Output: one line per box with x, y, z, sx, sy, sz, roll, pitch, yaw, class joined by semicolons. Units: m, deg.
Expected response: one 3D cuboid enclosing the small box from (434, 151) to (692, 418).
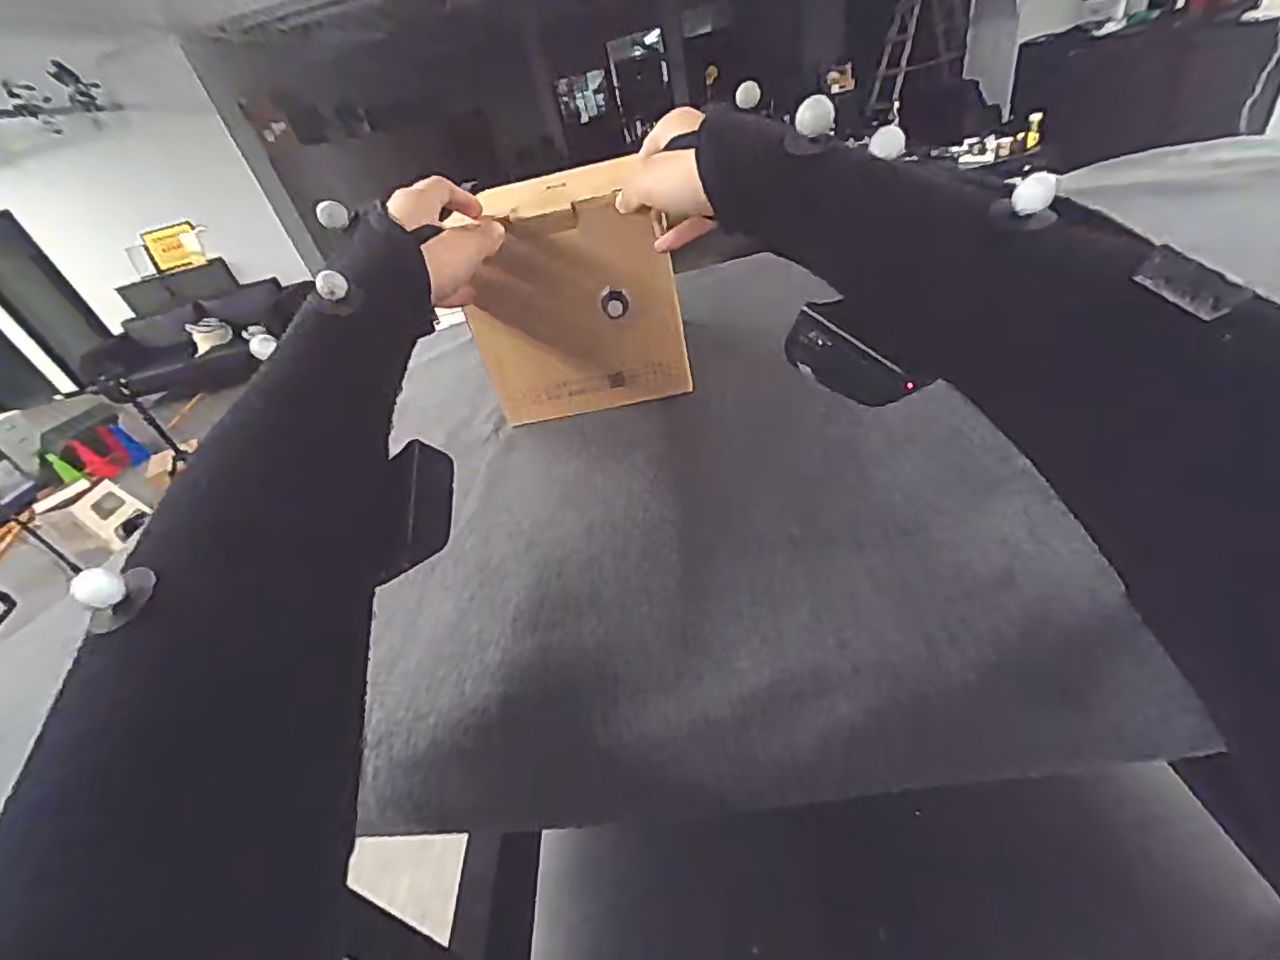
-0.050;-0.168;0.483;0.168;0.176;0.179;-9;37;7;small box
